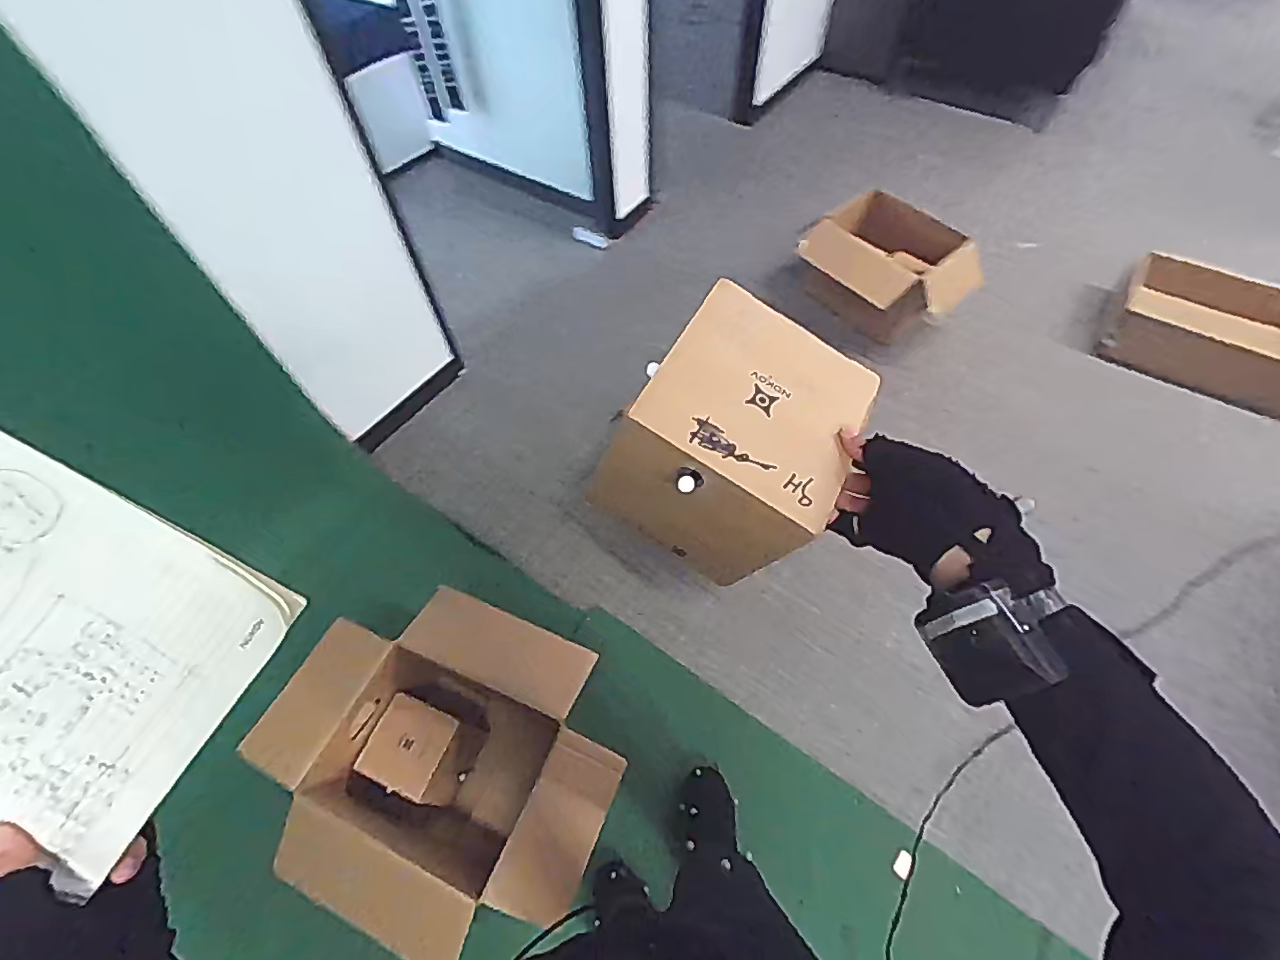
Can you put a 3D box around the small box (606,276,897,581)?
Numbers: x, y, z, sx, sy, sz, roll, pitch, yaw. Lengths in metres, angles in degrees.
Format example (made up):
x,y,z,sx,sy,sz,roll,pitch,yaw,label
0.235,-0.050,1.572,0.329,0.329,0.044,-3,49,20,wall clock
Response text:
x,y,z,sx,sy,sz,roll,pitch,yaw,label
0.089,-0.036,0.487,0.168,0.176,0.179,34,62,-1,small box
